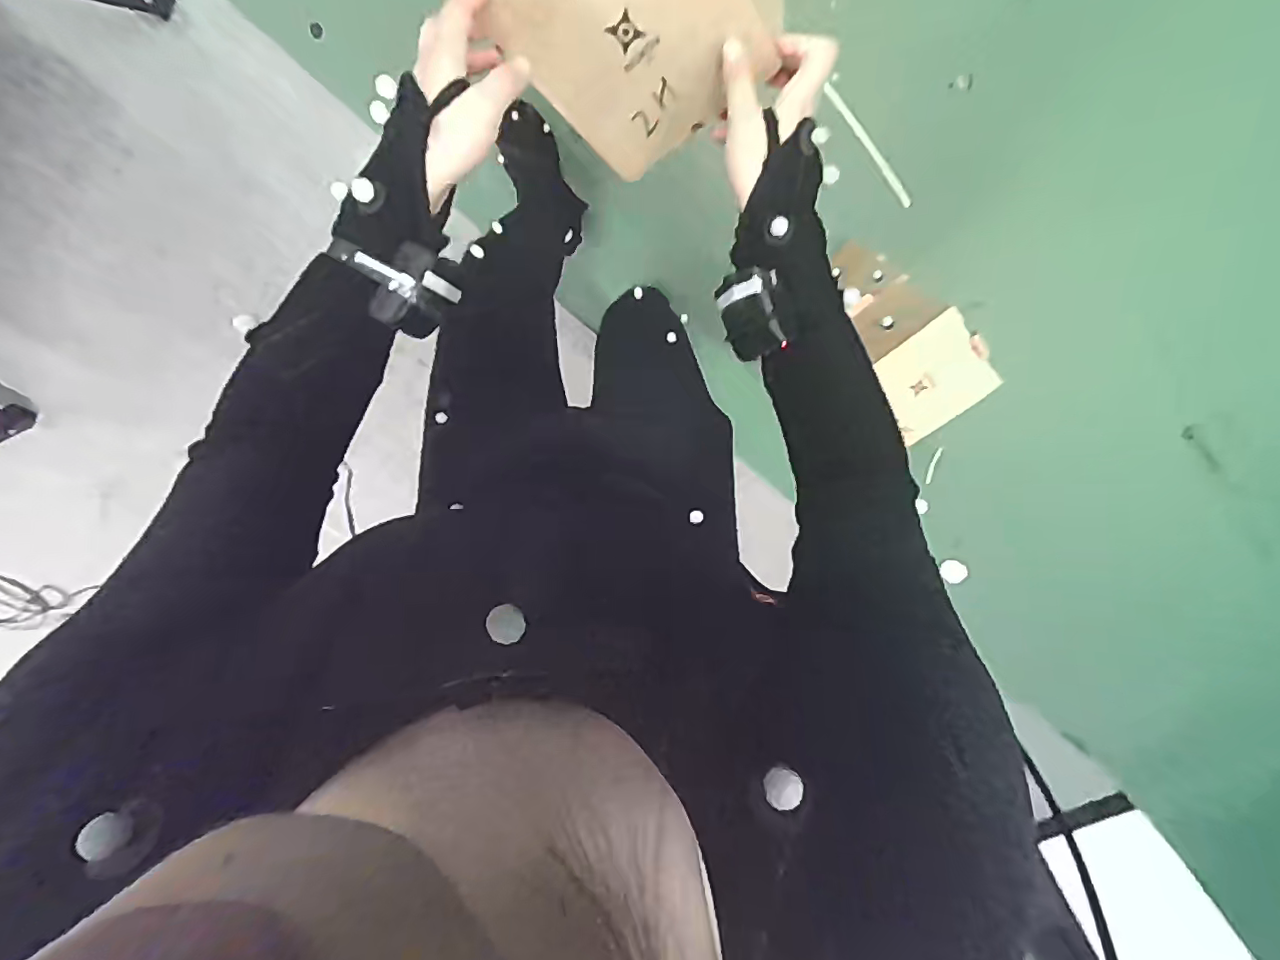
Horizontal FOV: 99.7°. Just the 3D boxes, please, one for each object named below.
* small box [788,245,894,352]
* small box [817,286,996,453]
[{"bbox_3d":[0.436,-0.369,1.157,0.179,0.176,0.168,-34,117,20],"label":"small box"},{"bbox_3d":[0.423,-0.185,0.883,0.179,0.176,0.168,-38,117,21],"label":"small box"}]
